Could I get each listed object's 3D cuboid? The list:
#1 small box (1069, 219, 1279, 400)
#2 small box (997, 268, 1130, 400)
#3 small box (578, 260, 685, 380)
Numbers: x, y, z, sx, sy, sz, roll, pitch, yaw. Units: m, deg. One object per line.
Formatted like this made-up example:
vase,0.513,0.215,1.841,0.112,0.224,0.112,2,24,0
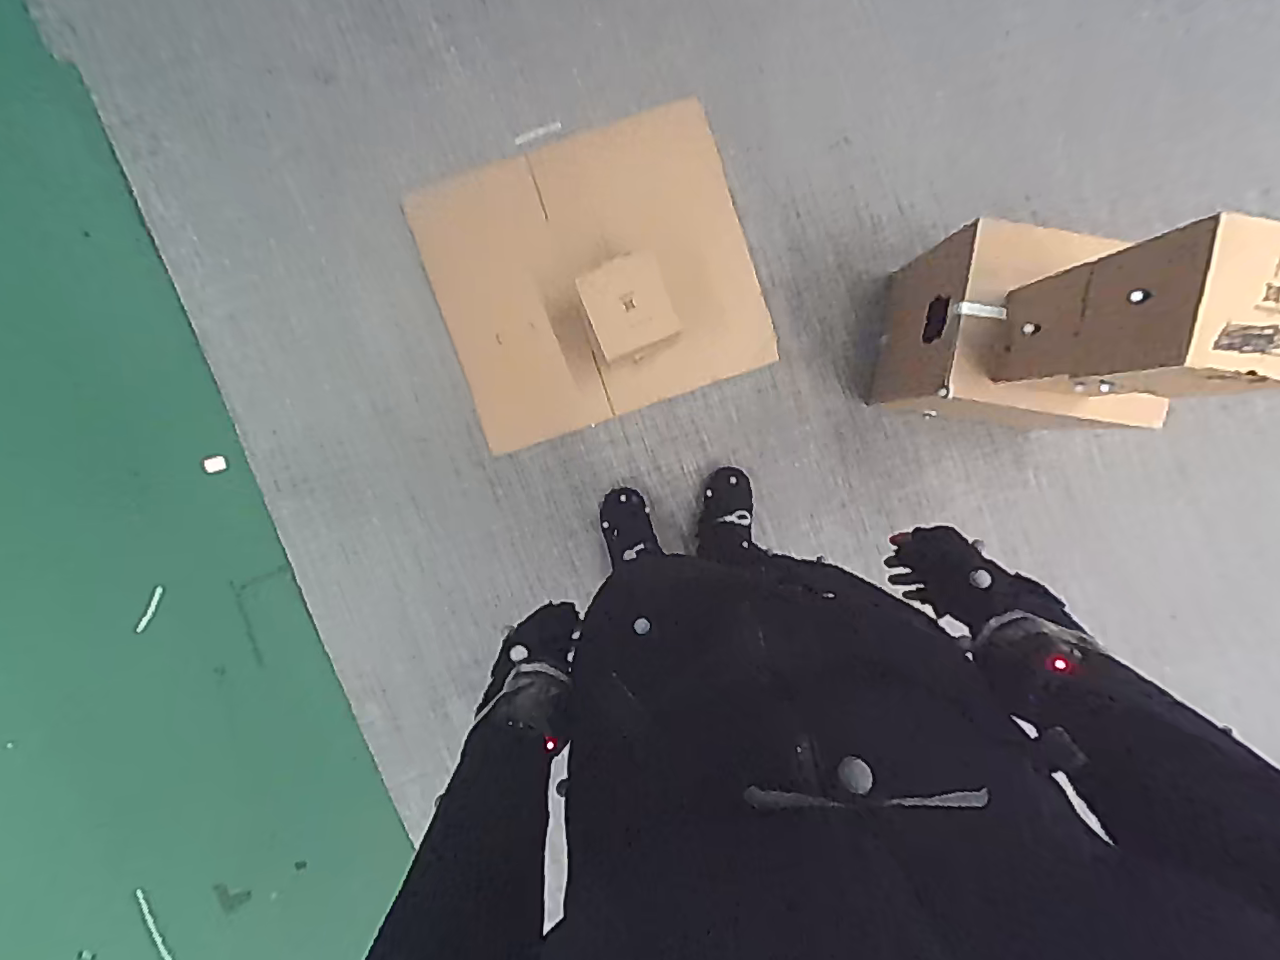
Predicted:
small box,0.709,-0.204,0.701,0.168,0.176,0.179,9,93,-2
small box,0.714,-0.223,0.867,0.179,0.176,0.168,3,92,-2
small box,-0.014,-0.328,1.145,0.168,0.176,0.179,-23,94,5
